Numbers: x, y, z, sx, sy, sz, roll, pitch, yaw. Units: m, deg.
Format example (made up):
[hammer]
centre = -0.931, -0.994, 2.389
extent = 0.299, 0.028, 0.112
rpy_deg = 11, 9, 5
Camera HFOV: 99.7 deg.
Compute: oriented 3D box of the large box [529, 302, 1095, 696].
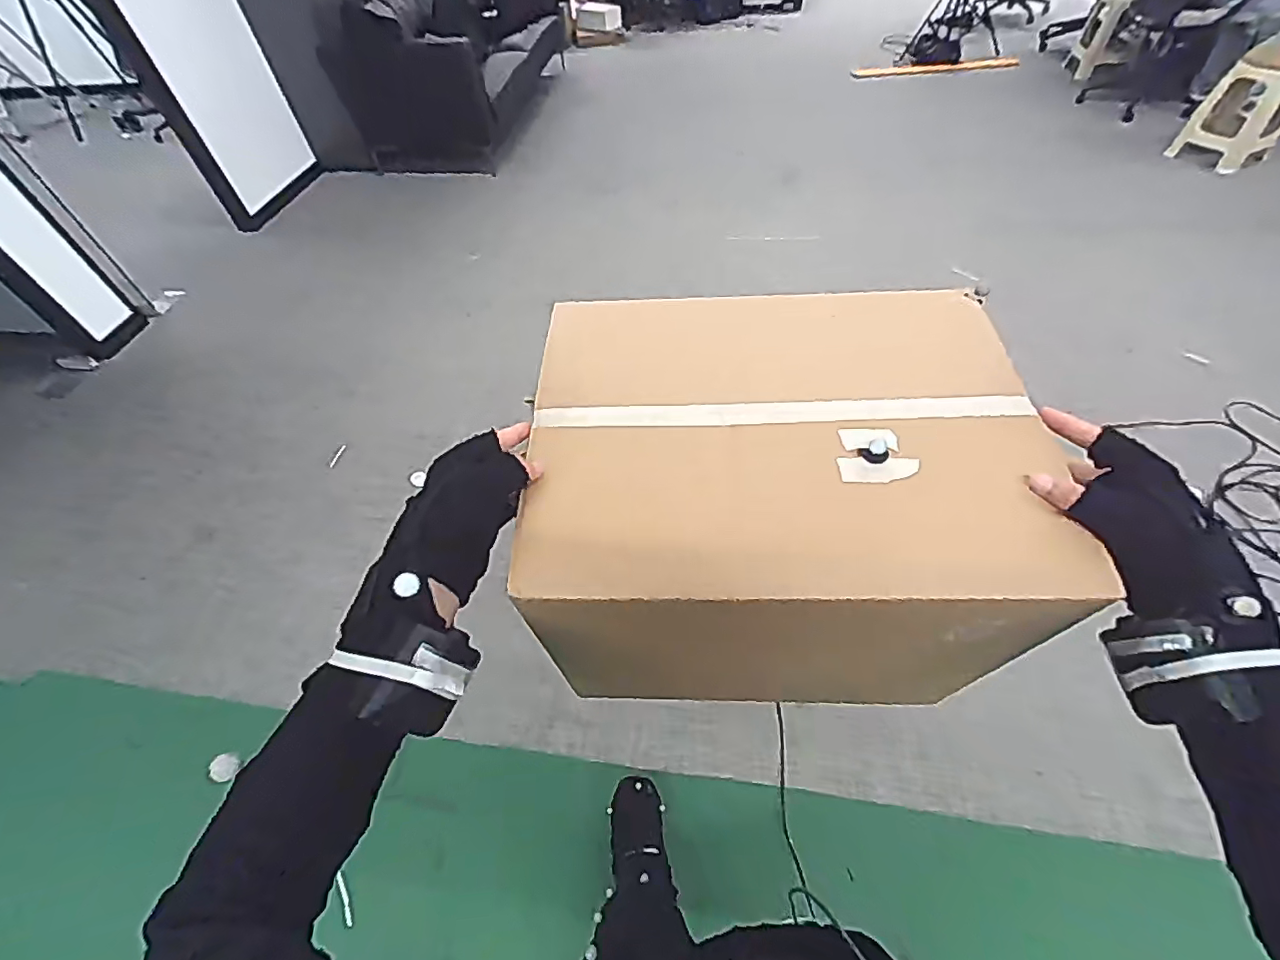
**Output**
[large box]
centre = 0.123, 0.036, 0.583
extent = 0.408, 0.320, 0.320
rpy_deg = -1, 56, 3
